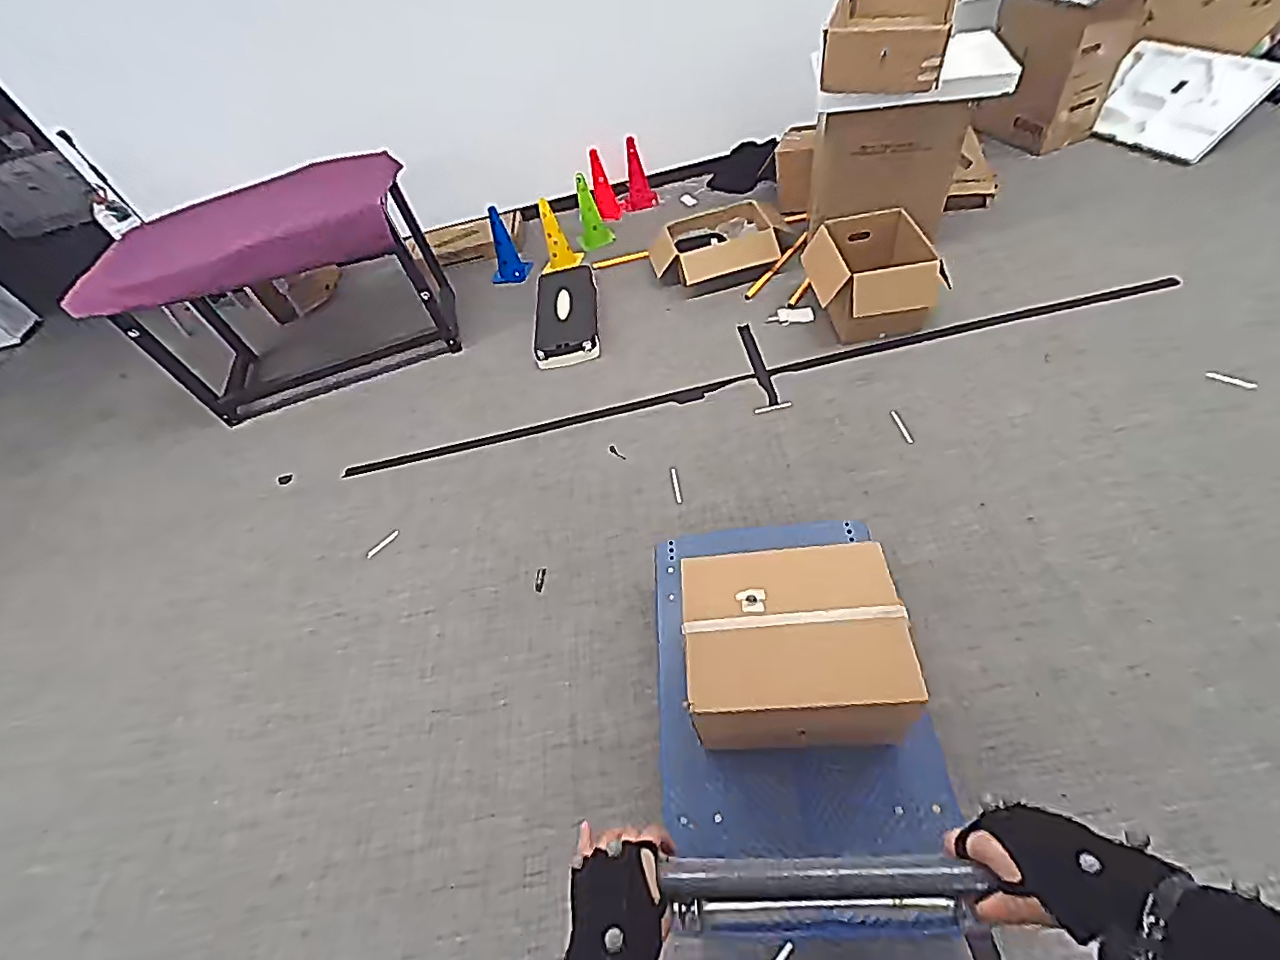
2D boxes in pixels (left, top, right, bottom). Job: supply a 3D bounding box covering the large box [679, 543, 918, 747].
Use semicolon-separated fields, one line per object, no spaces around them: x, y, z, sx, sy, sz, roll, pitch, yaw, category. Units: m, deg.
0.313;0.366;1.158;0.408;0.320;0.320;-8;50;9;large box
